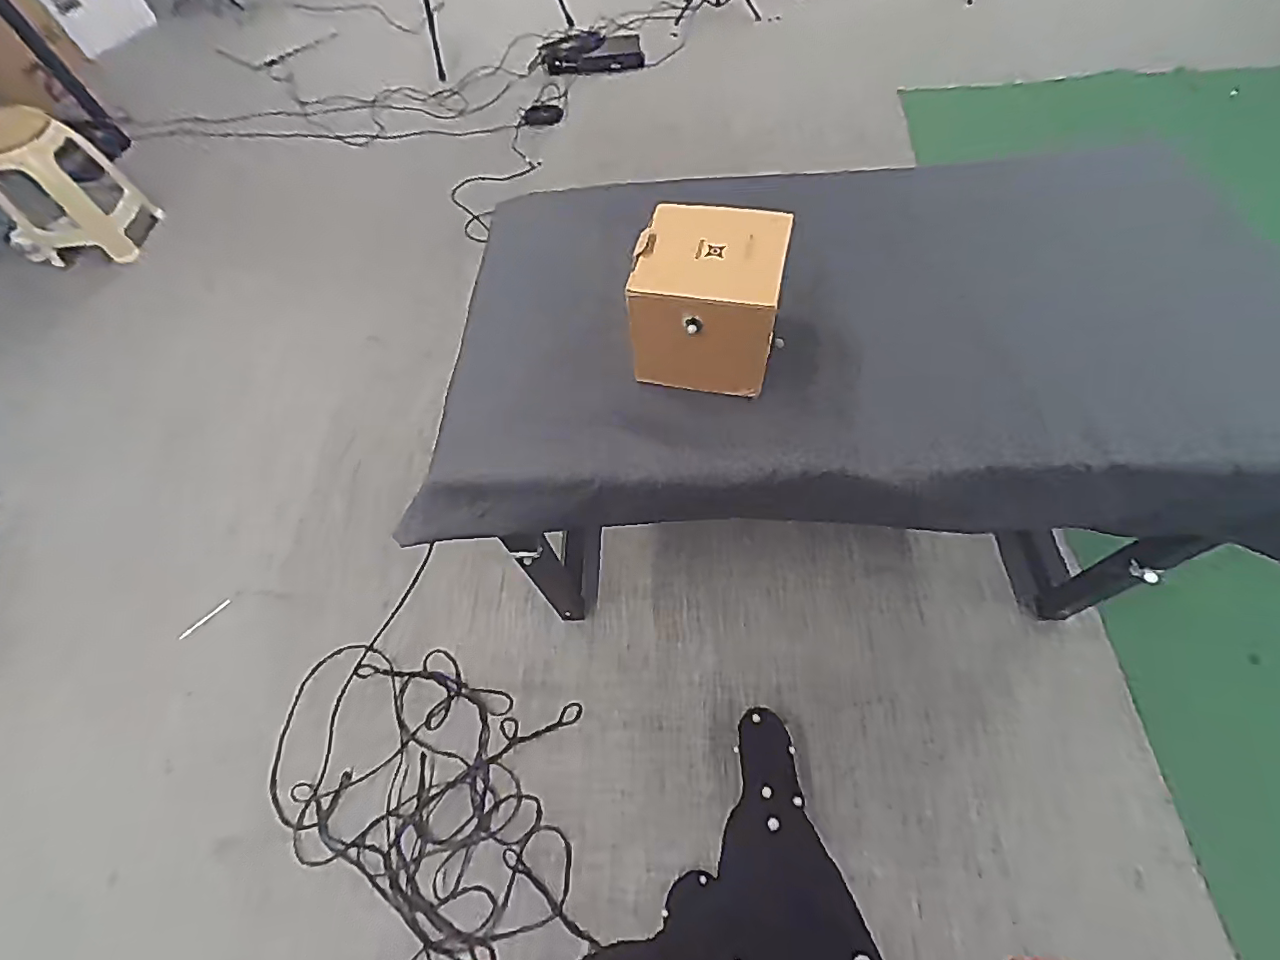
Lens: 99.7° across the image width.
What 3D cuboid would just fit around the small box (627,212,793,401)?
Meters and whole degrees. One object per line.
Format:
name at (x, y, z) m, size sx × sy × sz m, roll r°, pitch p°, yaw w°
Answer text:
small box at (0.093, -0.224, 0.718) m, size 0.179 × 0.176 × 0.168 m, roll 10°, pitch 62°, yaw 10°
